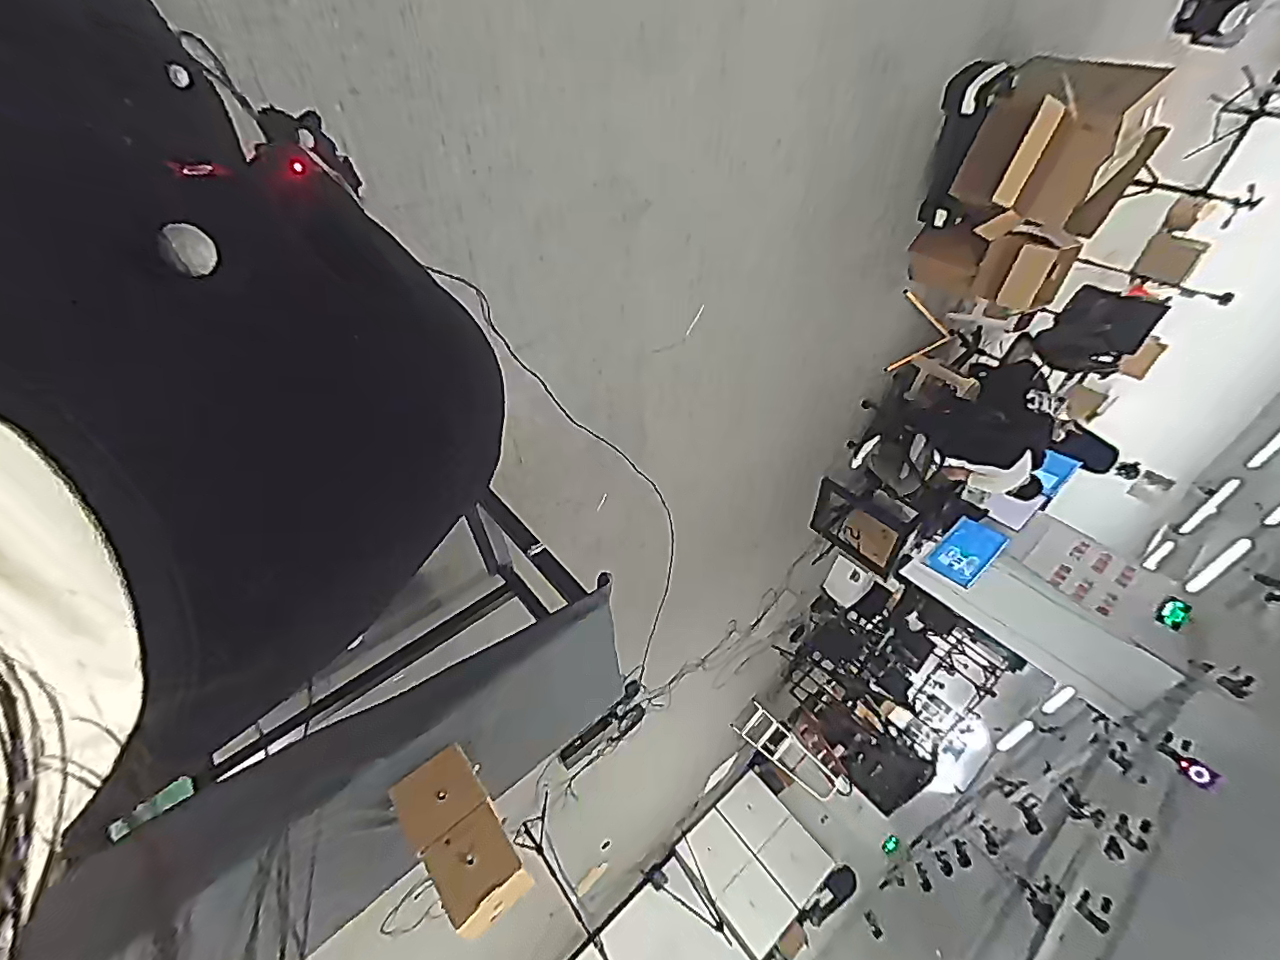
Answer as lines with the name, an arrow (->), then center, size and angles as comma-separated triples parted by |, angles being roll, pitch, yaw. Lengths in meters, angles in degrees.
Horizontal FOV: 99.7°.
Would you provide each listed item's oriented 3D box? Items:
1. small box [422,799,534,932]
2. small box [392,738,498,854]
small box -> -0.366, 0.863, 1.222 | 0.168, 0.176, 0.179 | -31, 142, -27
small box -> -0.472, 0.770, 1.304 | 0.179, 0.176, 0.168 | -31, 143, -29
